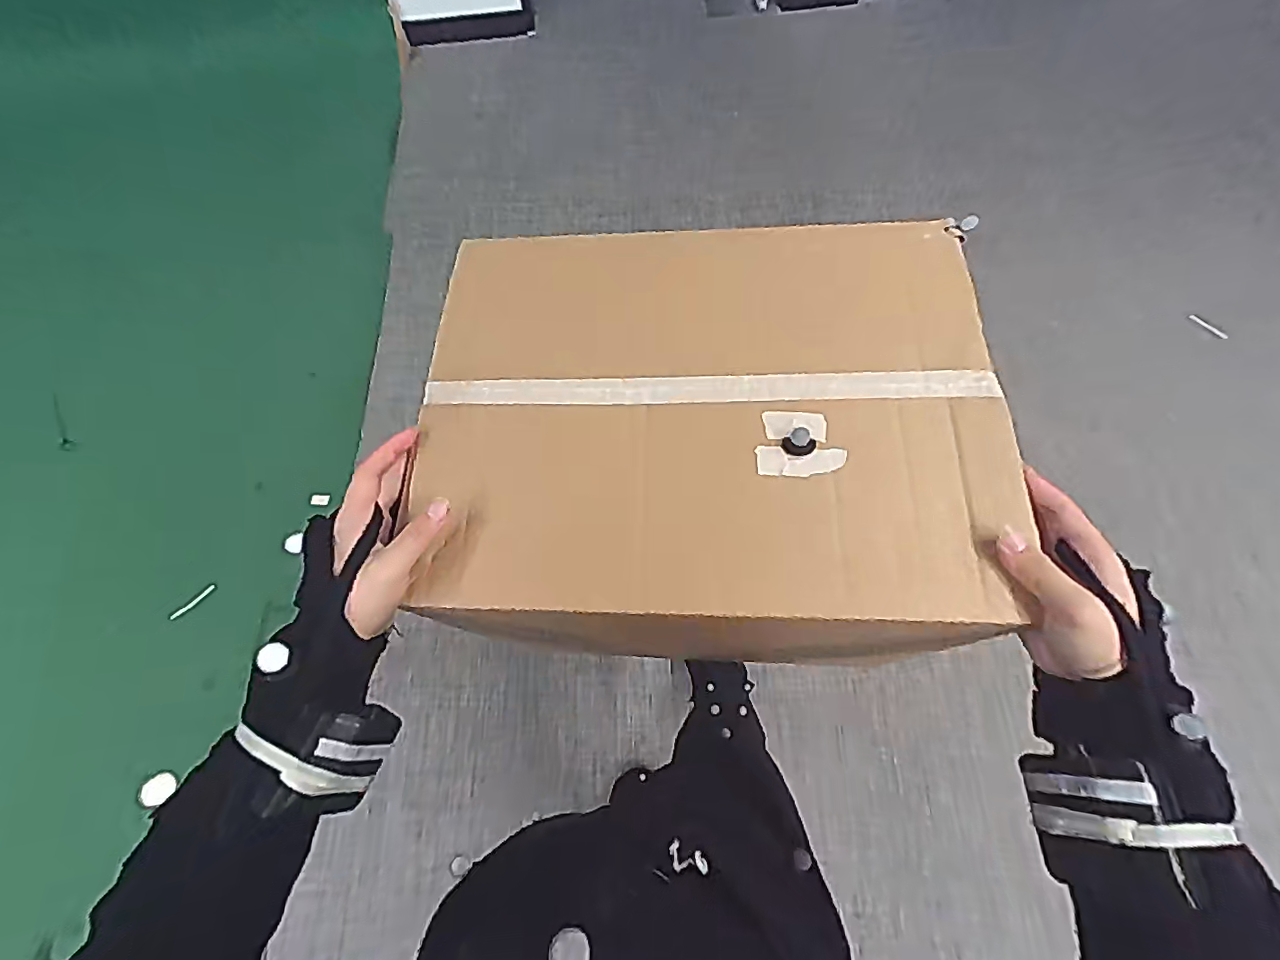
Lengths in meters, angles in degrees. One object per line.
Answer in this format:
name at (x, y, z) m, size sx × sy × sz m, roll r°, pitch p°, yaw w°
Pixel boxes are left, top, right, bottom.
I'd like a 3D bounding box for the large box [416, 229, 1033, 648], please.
large box at (0.059, -0.009, 0.540) m, size 0.408 × 0.320 × 0.320 m, roll 0°, pitch 68°, yaw 5°
